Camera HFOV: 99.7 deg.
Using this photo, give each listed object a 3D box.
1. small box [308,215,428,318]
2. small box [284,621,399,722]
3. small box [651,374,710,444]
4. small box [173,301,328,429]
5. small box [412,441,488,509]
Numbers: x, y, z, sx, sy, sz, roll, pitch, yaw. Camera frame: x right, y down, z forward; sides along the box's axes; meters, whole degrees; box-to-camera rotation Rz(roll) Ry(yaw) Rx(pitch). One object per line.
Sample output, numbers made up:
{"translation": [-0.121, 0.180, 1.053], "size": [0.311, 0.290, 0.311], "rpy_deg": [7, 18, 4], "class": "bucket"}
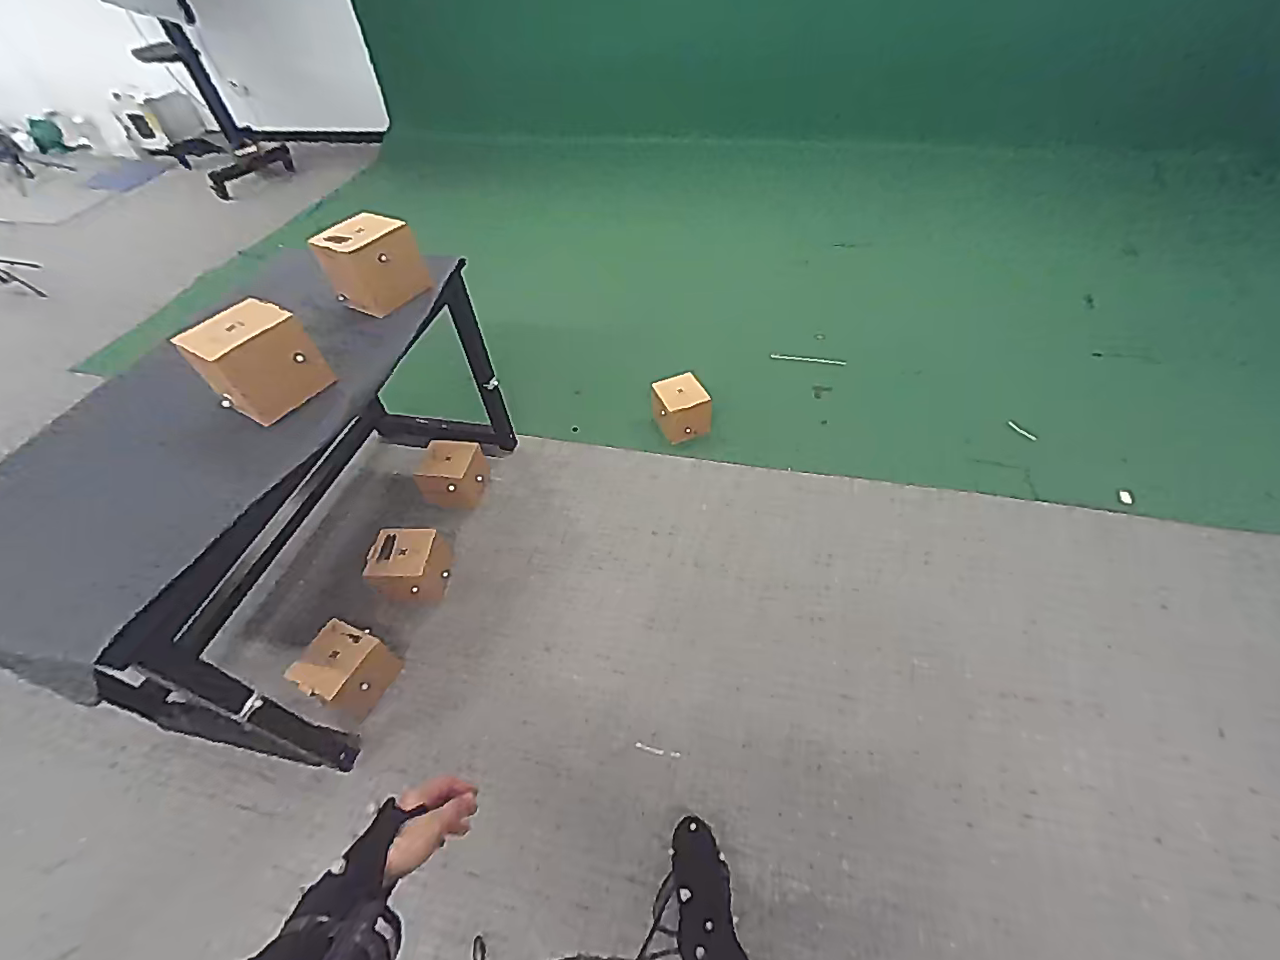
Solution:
{"translation": [-0.668, -0.532, 1.352], "size": [0.168, 0.176, 0.179], "rpy_deg": [24, 56, 25], "class": "small box"}
{"translation": [-0.779, 0.511, 1.433], "size": [0.168, 0.176, 0.179], "rpy_deg": [18, 53, 18], "class": "small box"}
{"translation": [0.148, -0.265, 2.035], "size": [0.168, 0.176, 0.179], "rpy_deg": [-19, 52, -13], "class": "small box"}
{"translation": [-0.783, -0.236, 1.114], "size": [0.168, 0.176, 0.179], "rpy_deg": [22, 56, 25], "class": "small box"}
{"translation": [-0.647, -0.014, 1.871], "size": [0.179, 0.176, 0.168], "rpy_deg": [4, 49, 7], "class": "small box"}
